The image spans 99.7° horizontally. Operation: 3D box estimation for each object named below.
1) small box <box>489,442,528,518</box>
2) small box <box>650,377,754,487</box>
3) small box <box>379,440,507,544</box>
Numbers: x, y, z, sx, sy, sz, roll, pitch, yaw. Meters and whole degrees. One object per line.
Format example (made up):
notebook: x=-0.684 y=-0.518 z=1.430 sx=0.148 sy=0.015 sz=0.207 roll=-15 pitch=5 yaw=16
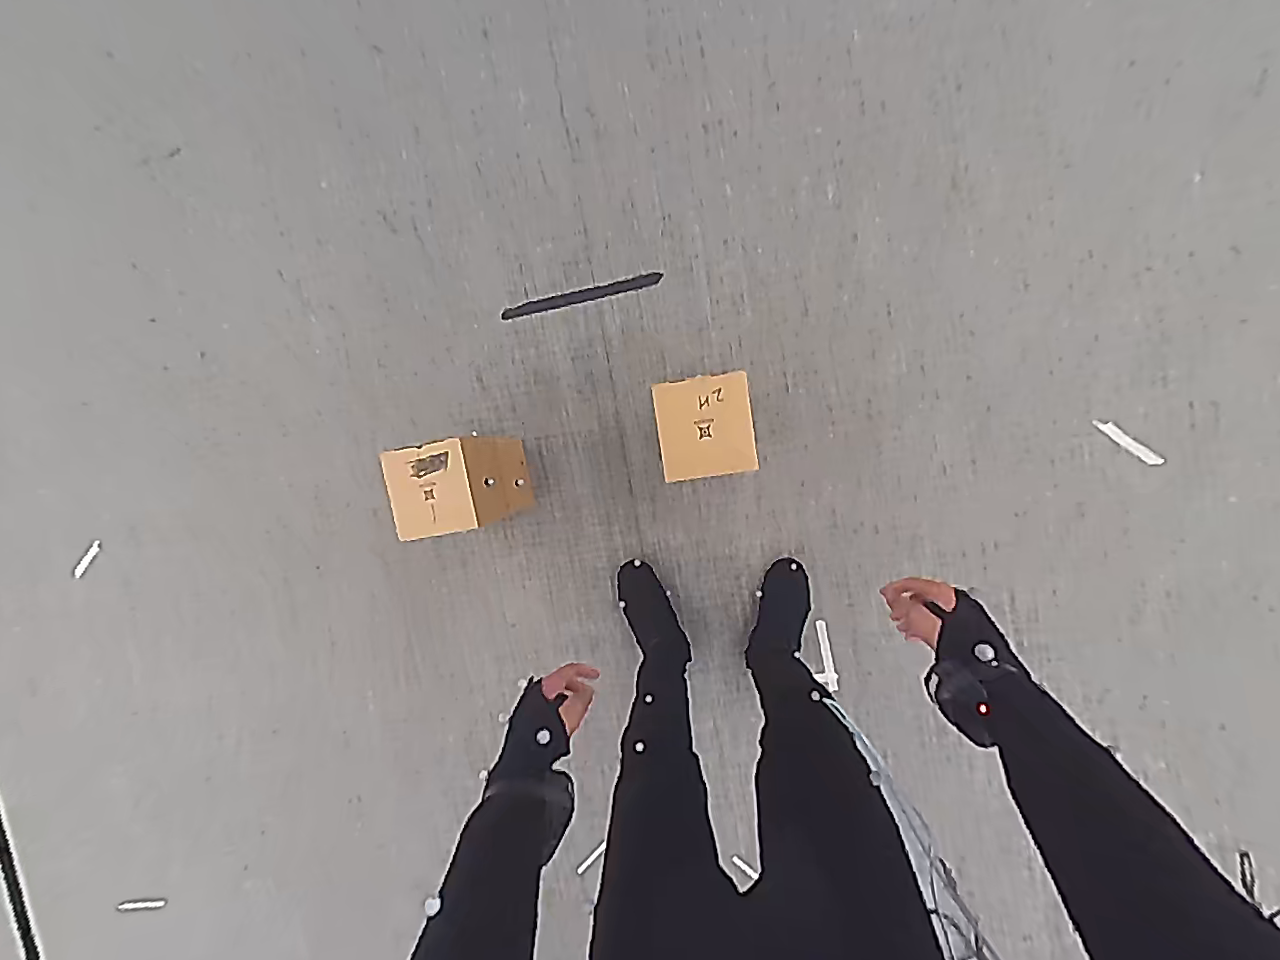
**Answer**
small box: x=-0.370 y=0.007 z=1.247 sx=0.179 sy=0.176 sz=0.168 roll=-10 pitch=94 yaw=8
small box: x=0.117 y=-0.090 z=1.014 sx=0.168 sy=0.176 sz=0.179 roll=-7 pitch=94 yaw=7
small box: x=-0.385 y=0.018 z=1.084 sx=0.168 sy=0.176 sz=0.179 roll=-10 pitch=95 yaw=8
